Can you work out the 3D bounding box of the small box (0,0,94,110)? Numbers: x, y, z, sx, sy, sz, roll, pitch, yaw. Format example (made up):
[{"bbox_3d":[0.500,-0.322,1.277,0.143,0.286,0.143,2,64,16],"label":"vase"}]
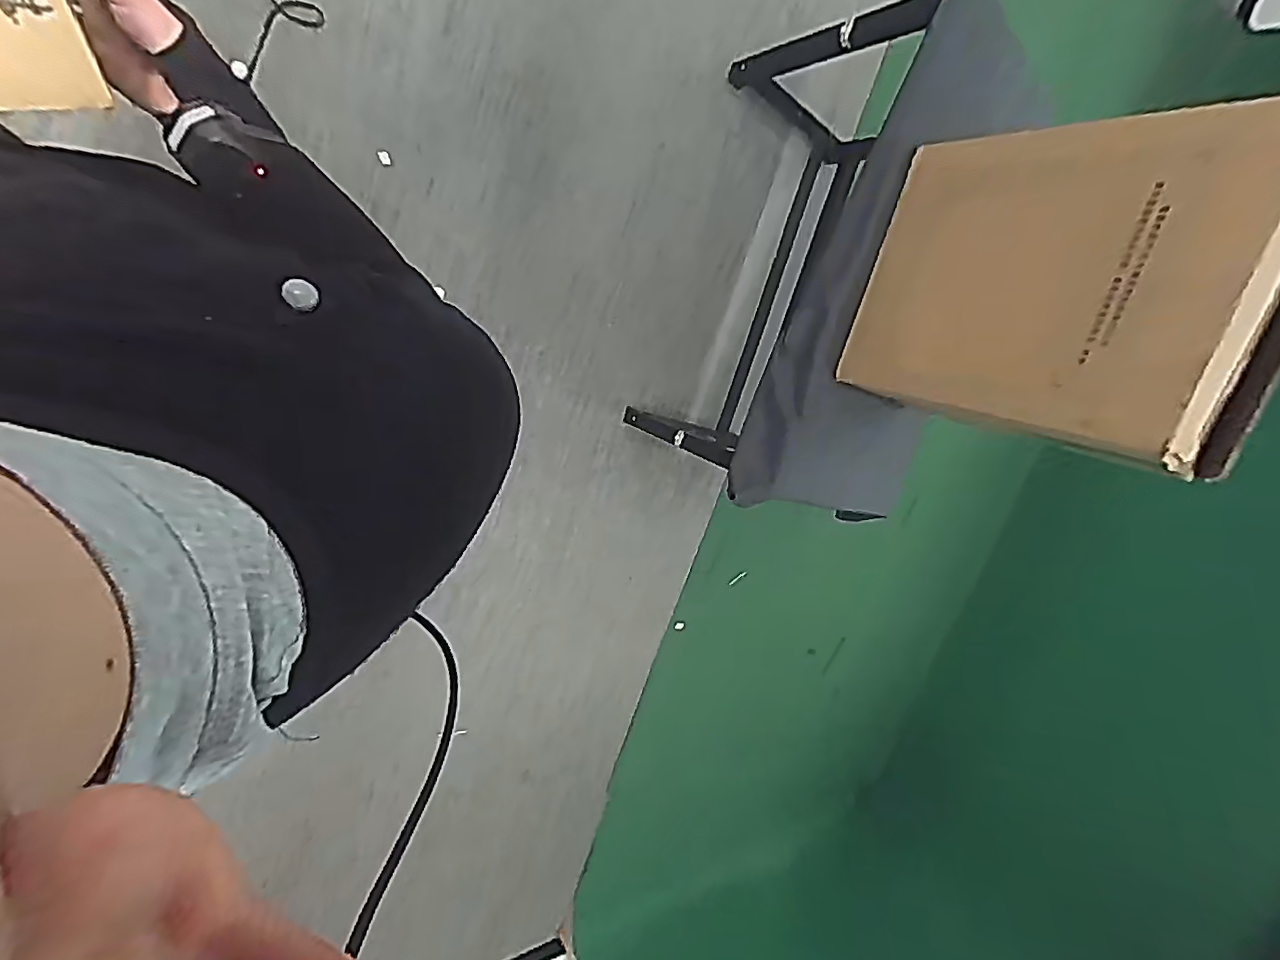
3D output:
[{"bbox_3d":[-0.458,-0.314,0.302,0.179,0.176,0.168,-24,137,-30],"label":"small box"}]
